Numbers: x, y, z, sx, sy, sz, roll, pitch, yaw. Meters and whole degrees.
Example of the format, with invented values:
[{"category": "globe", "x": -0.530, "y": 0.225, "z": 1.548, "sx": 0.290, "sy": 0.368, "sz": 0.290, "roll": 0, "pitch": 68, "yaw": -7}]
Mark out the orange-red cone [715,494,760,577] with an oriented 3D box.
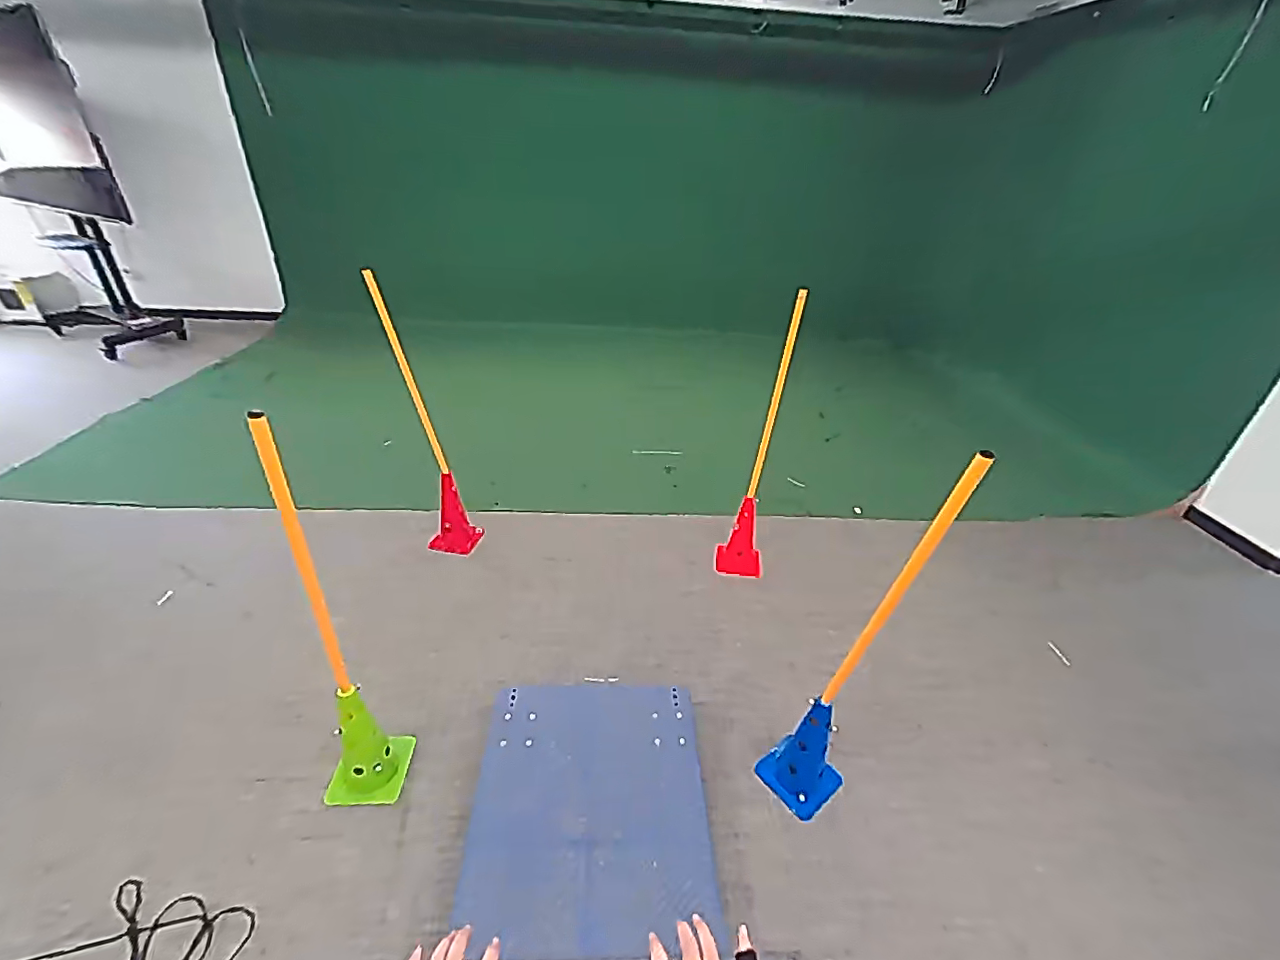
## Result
[{"category": "orange-red cone", "x": 0.450, "y": 0.221, "z": 2.360, "sx": 0.198, "sy": 0.360, "sz": 0.199, "roll": 6, "pitch": 32, "yaw": 6}]
